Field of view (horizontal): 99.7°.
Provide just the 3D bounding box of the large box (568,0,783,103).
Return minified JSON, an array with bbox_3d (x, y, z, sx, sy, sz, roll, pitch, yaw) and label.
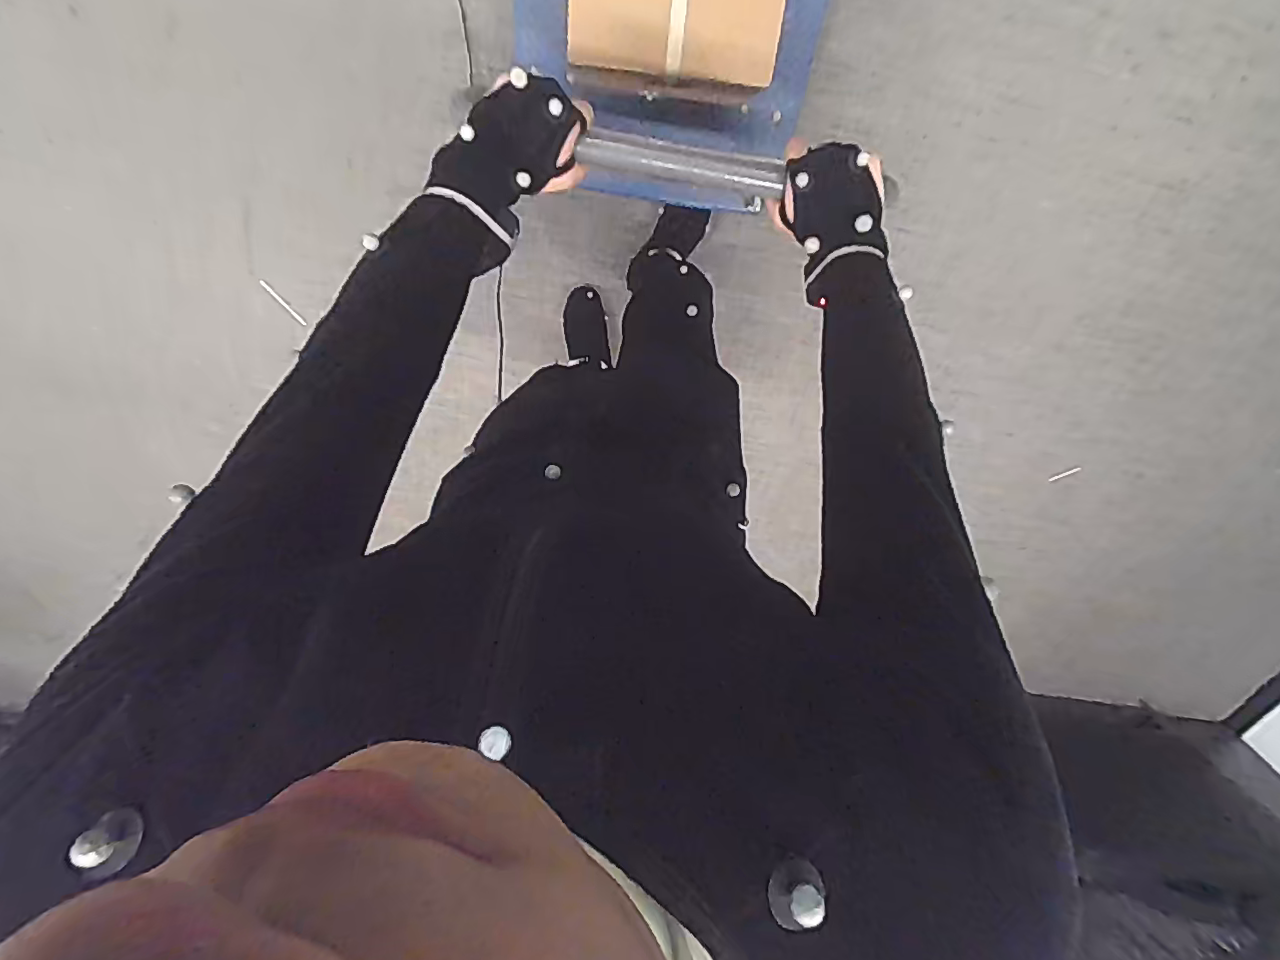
[{"bbox_3d":[0.060,-0.863,0.855,0.320,0.320,0.408,4,120,-4],"label":"large box"}]
